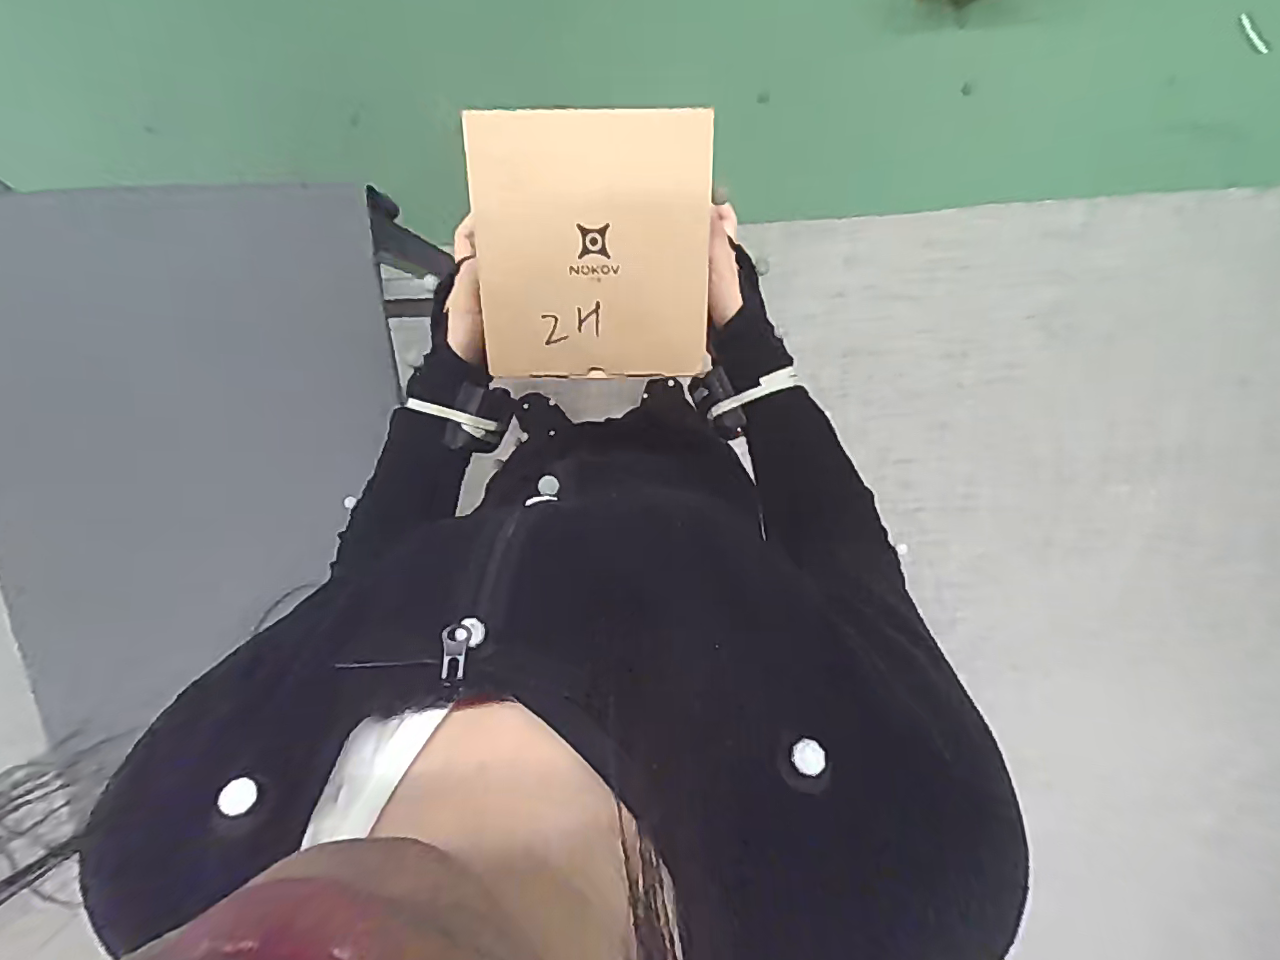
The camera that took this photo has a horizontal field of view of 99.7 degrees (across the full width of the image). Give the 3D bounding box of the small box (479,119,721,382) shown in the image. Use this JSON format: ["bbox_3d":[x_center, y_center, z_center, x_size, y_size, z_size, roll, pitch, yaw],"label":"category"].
[{"bbox_3d":[-0.026,-0.184,0.464,0.168,0.176,0.179,0,110,2],"label":"small box"}]
